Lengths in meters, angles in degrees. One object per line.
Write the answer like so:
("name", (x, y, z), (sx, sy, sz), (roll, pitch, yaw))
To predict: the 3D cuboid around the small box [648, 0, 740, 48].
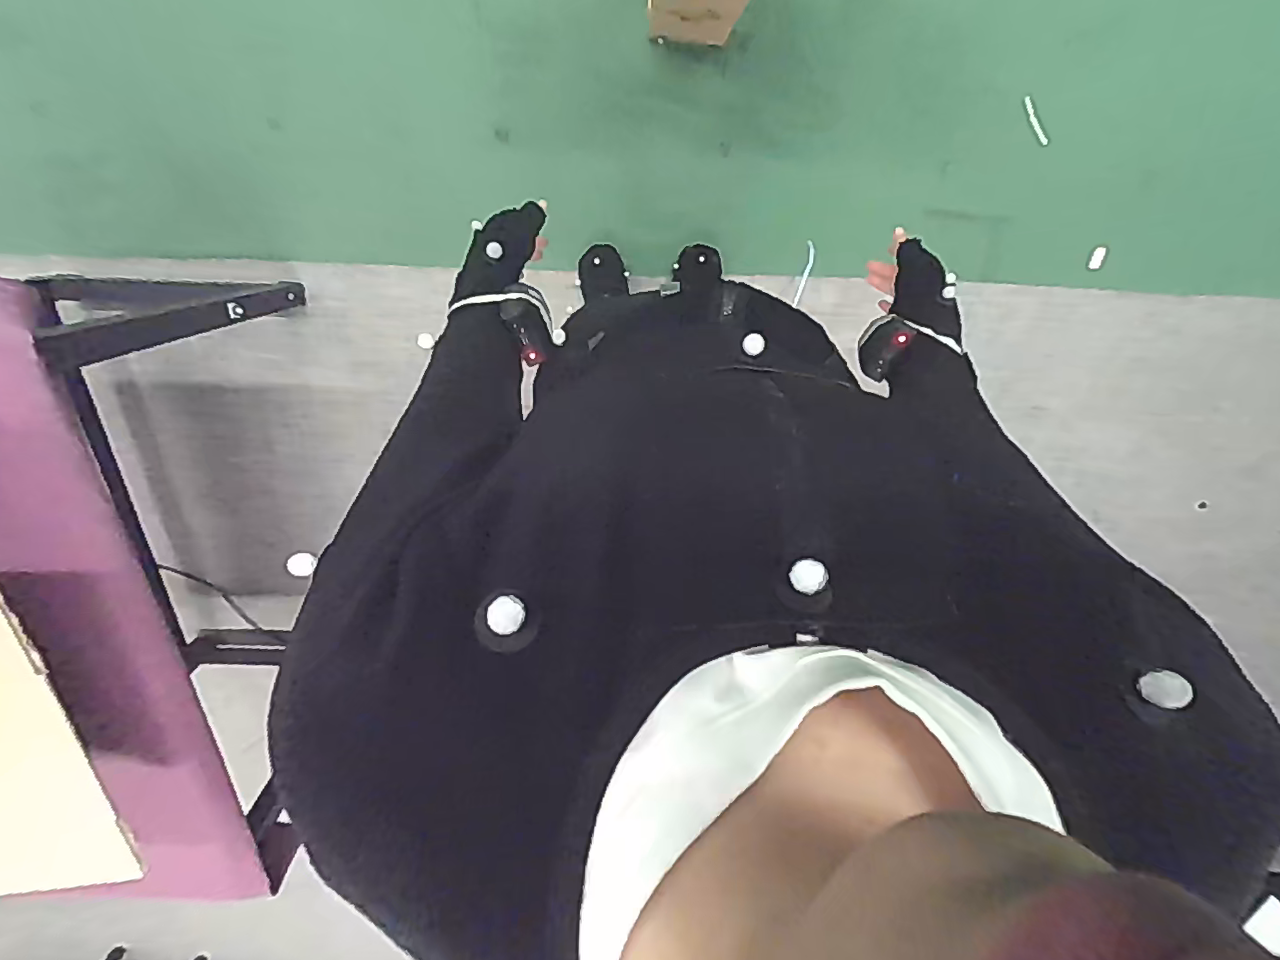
("small box", (0.105, -0.952, 1.024), (0.168, 0.176, 0.179), (3, 115, -3))
